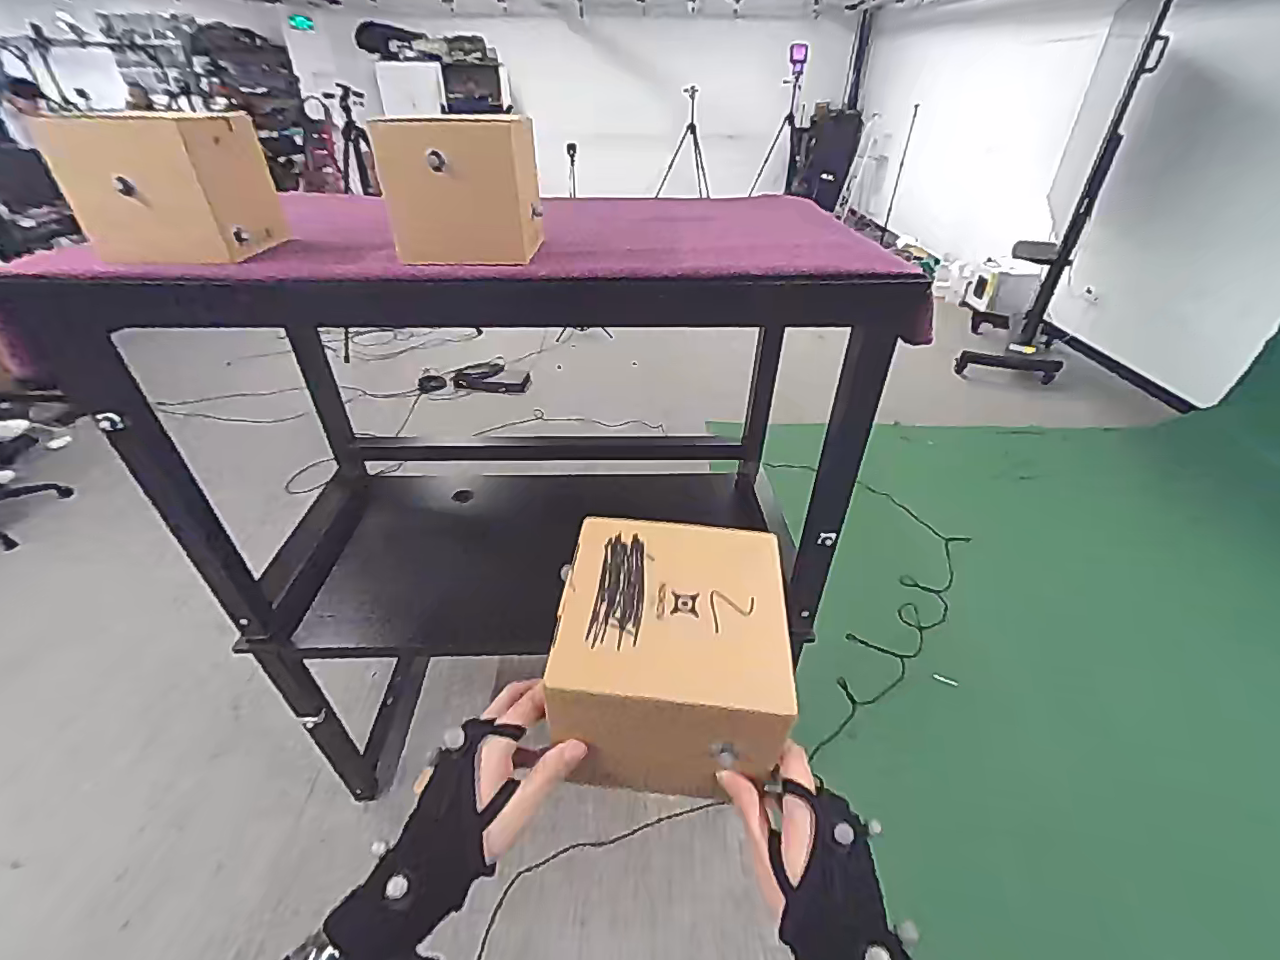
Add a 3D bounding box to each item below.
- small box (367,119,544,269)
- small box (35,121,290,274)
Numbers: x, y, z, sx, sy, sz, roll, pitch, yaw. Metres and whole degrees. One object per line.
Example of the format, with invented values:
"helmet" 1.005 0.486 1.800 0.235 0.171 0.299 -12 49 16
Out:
"small box" -0.242 -0.402 0.759 0.179 0.176 0.168 0 36 1
"small box" -0.635 -0.394 0.754 0.179 0.176 0.168 -2 36 -1
